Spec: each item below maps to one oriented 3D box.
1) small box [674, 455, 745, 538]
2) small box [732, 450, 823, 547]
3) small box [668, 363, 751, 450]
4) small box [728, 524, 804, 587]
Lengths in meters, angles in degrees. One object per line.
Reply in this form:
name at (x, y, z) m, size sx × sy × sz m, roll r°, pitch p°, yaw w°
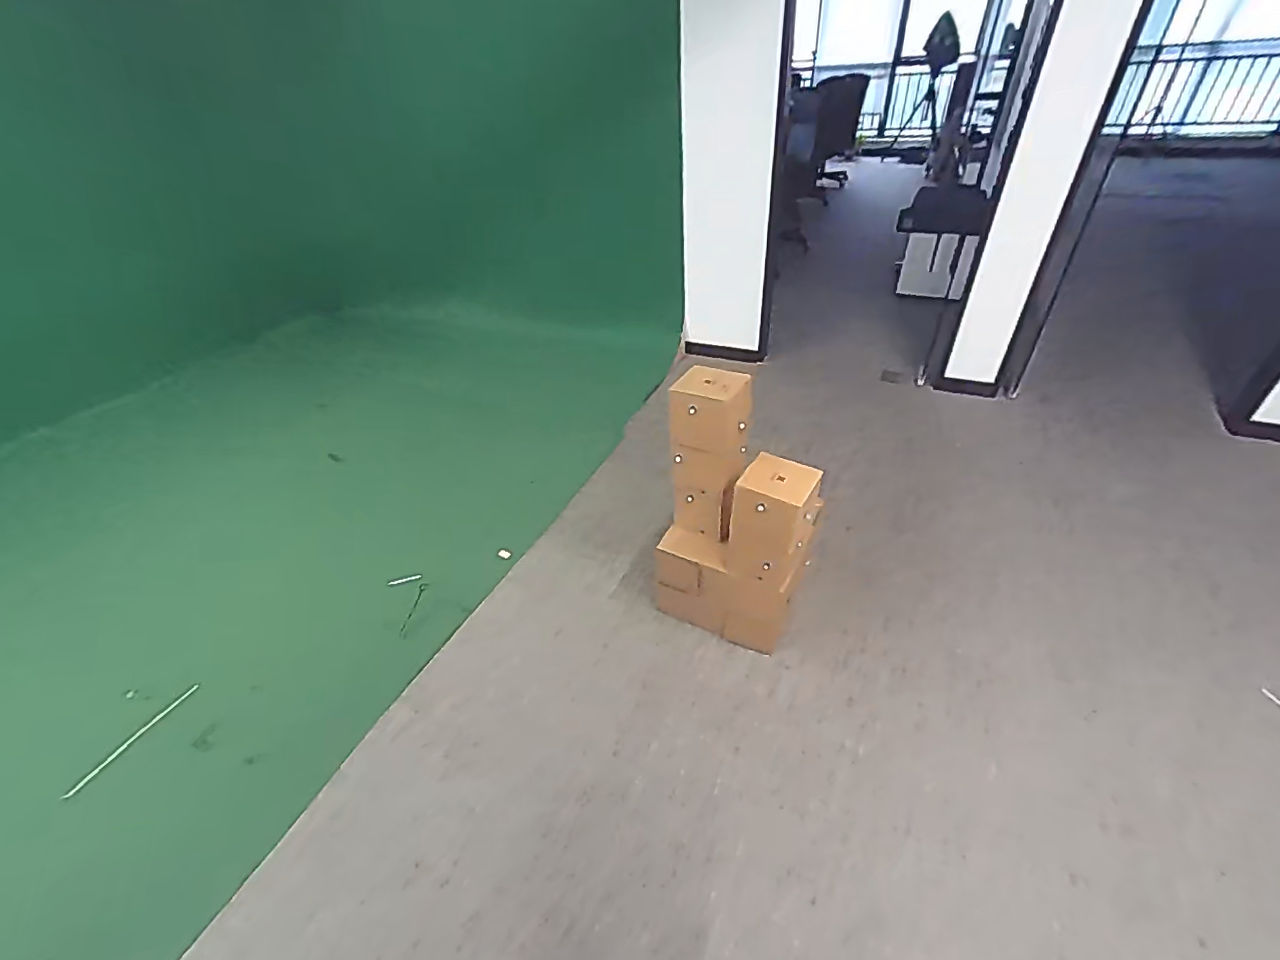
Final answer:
small box at (0.217, 0.052, 1.700) m, size 0.168 × 0.176 × 0.179 m, roll 19°, pitch 42°, yaw 27°
small box at (0.357, 0.052, 1.425) m, size 0.179 × 0.176 × 0.168 m, roll 21°, pitch 44°, yaw 27°
small box at (0.191, -0.202, 1.489) m, size 0.179 × 0.176 × 0.168 m, roll 17°, pitch 43°, yaw 26°
small box at (0.360, 0.171, 1.536) m, size 0.168 × 0.176 × 0.179 m, roll 21°, pitch 44°, yaw 26°
